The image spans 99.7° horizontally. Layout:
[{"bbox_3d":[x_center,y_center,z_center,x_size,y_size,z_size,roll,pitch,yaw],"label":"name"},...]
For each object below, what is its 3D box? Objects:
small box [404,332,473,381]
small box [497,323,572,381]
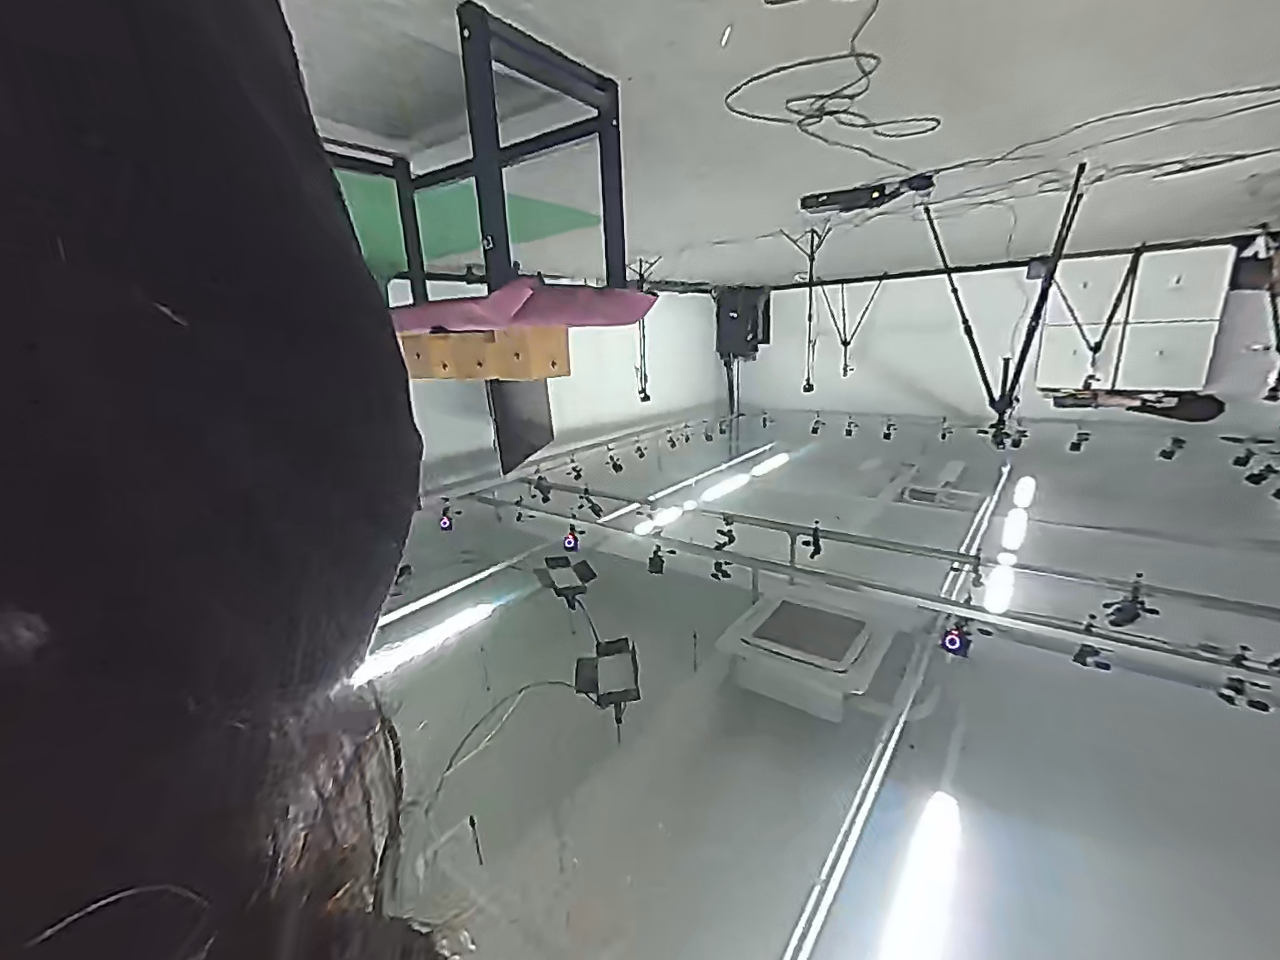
[{"bbox_3d":[-0.761,-0.465,2.034,0.168,0.176,0.179,7,-162,31],"label":"small box"},{"bbox_3d":[-0.345,-0.416,1.760,0.168,0.176,0.179,8,-161,37],"label":"small box"}]
